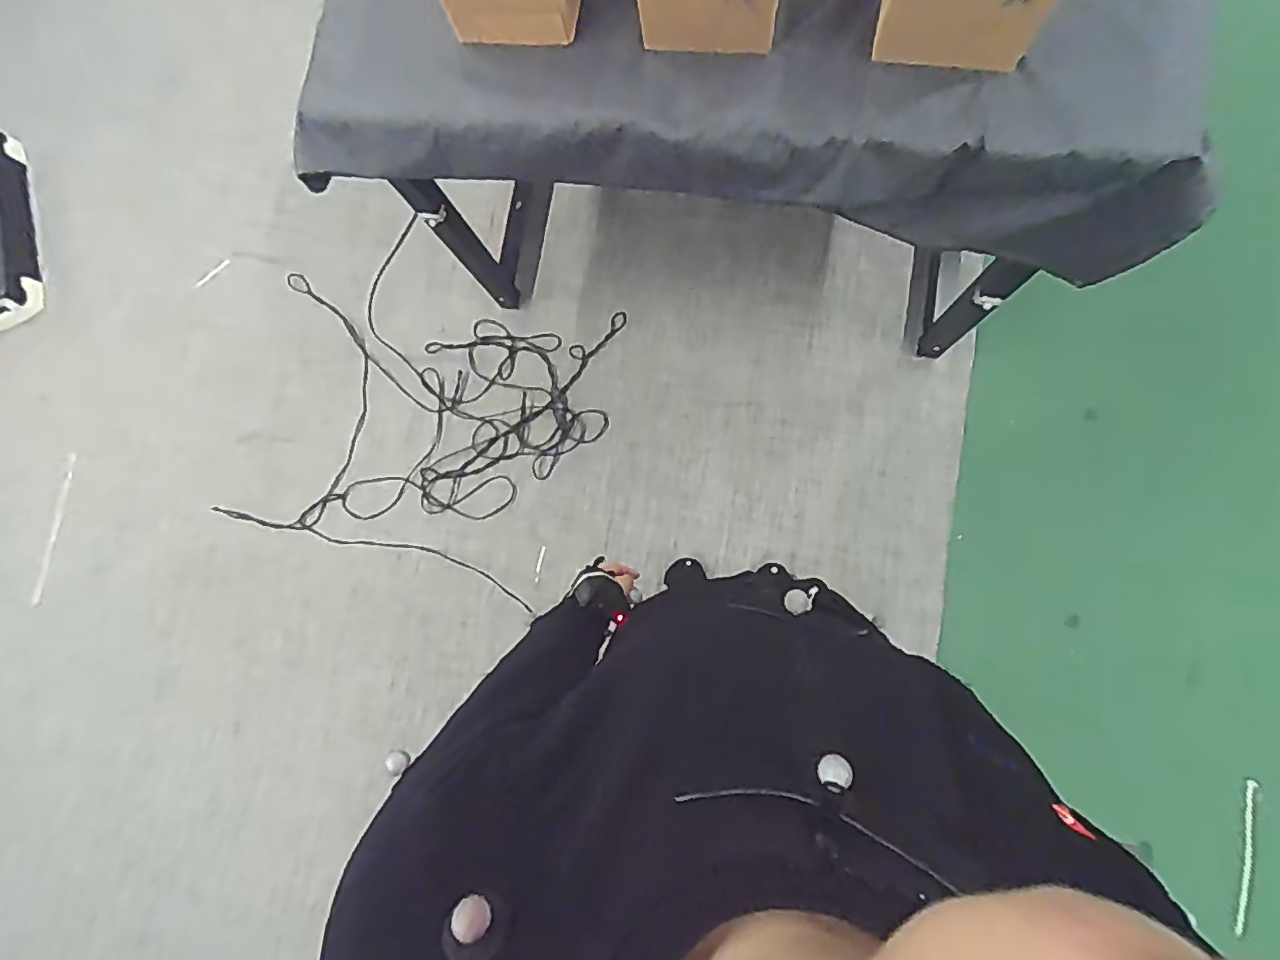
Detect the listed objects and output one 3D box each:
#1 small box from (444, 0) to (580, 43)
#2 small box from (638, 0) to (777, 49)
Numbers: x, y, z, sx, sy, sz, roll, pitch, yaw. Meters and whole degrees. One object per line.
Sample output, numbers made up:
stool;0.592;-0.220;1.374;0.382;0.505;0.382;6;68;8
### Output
small box;-0.180;-0.724;0.715;0.179;0.176;0.168;8;83;9
small box;0.093;-0.677;0.669;0.179;0.176;0.168;8;83;11
